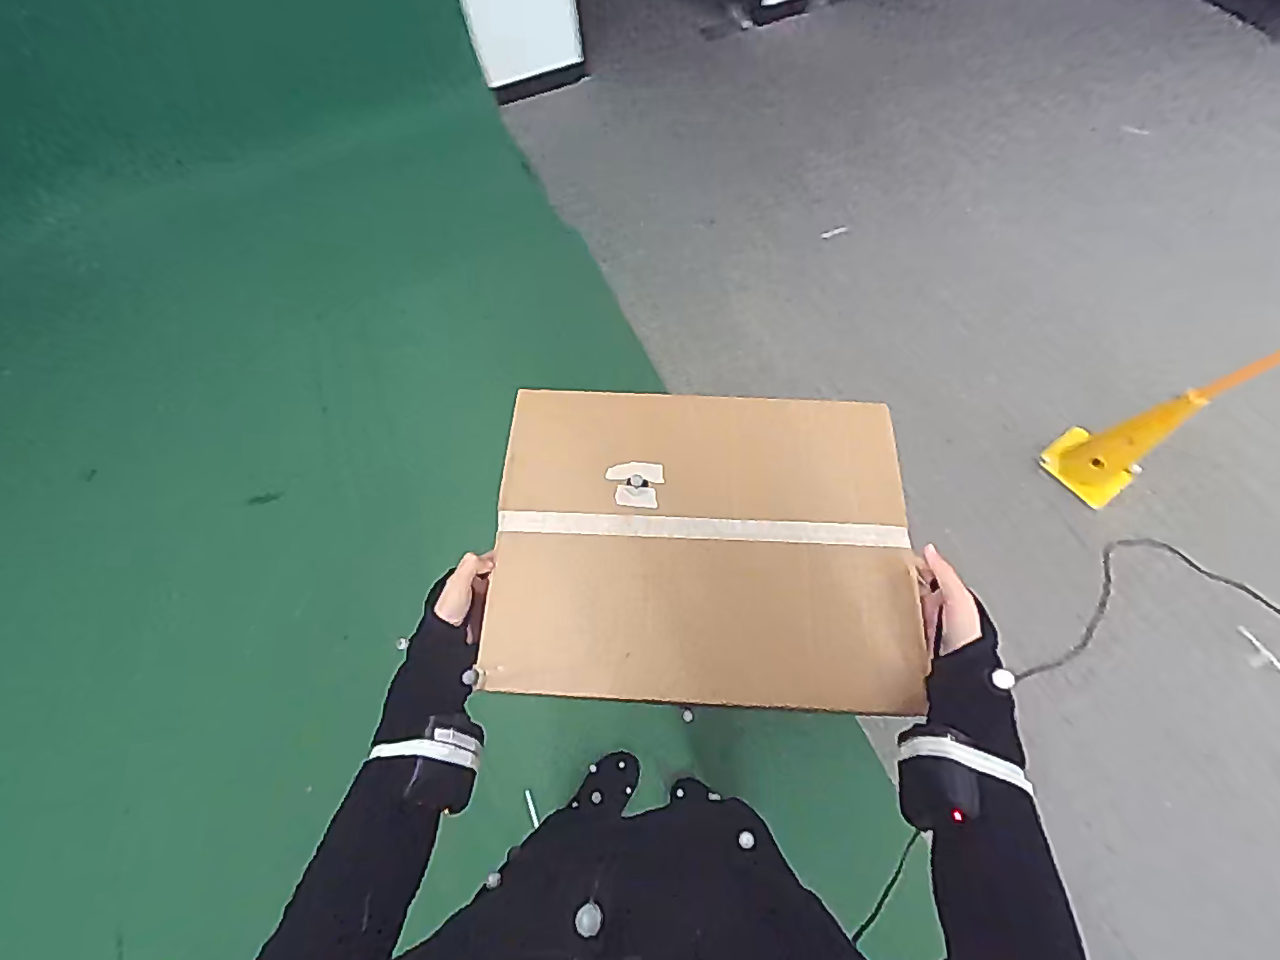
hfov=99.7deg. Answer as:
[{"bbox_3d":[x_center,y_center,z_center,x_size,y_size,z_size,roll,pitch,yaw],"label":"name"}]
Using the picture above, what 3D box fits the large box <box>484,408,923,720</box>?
[{"bbox_3d":[0.067,0.122,0.681,0.408,0.320,0.320,3,66,3],"label":"large box"}]
